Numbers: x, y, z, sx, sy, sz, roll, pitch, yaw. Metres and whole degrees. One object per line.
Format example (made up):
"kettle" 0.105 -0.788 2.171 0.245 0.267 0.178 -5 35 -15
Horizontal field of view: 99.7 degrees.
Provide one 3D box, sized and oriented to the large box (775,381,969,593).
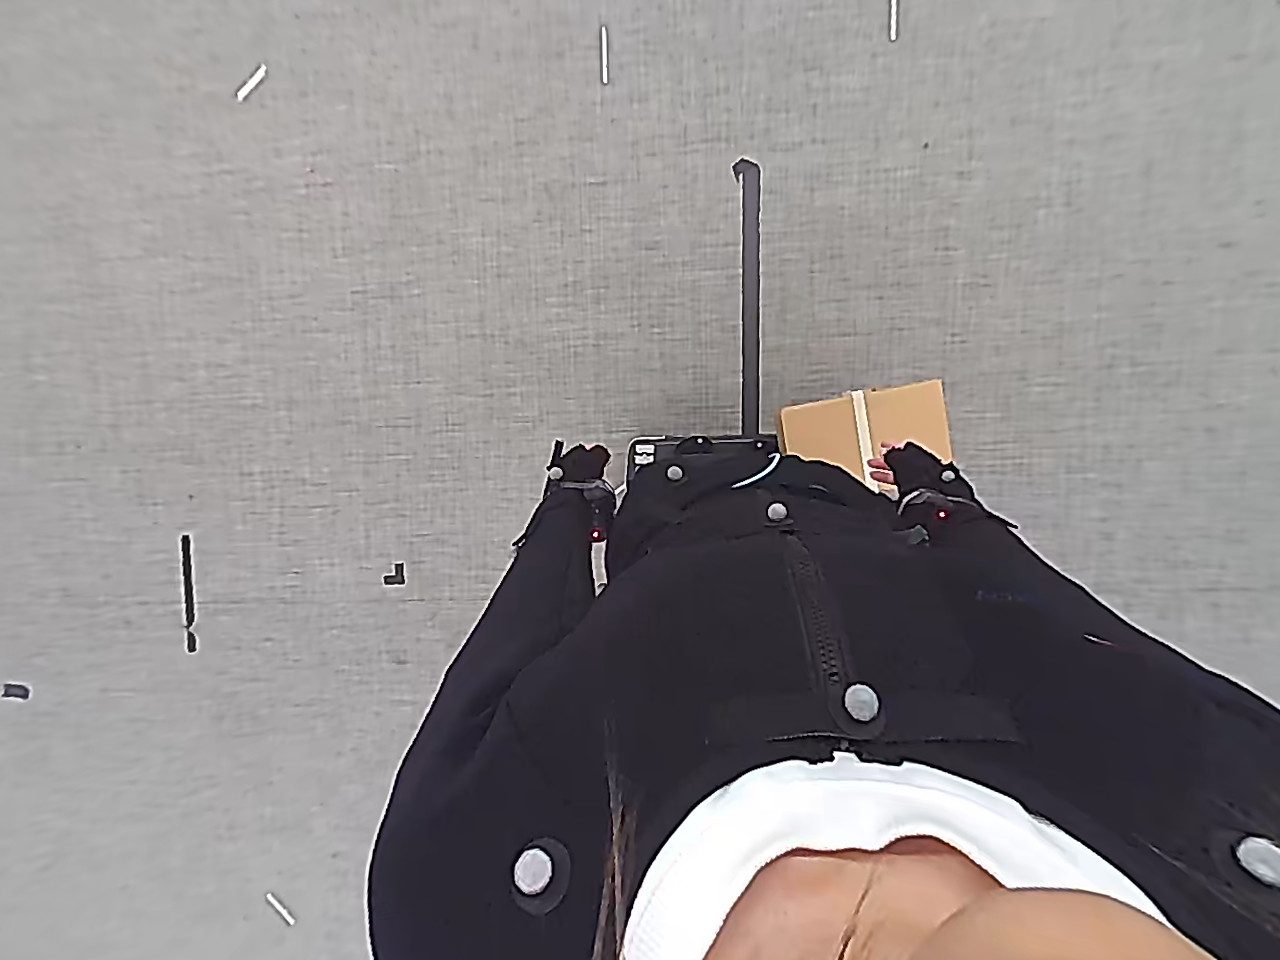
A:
"large box" 0.509 0.006 1.255 0.320 0.320 0.408 -10 94 13
